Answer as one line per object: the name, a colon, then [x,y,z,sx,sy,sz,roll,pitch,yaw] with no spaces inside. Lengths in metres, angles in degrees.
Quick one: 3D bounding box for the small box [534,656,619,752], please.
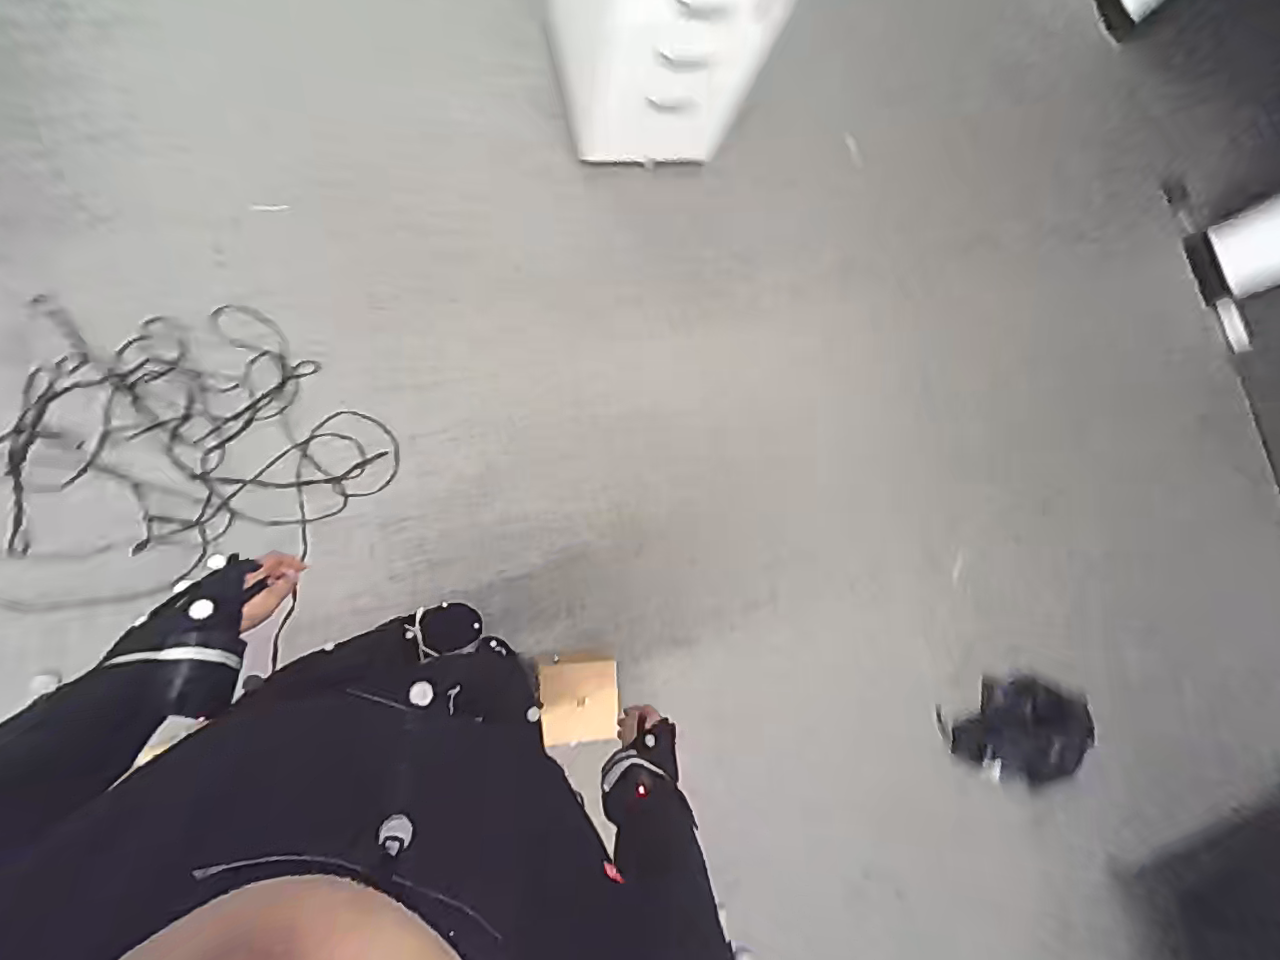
small box: [-0.152,0.511,1.257,0.179,0.176,0.168,0,81,-14]
